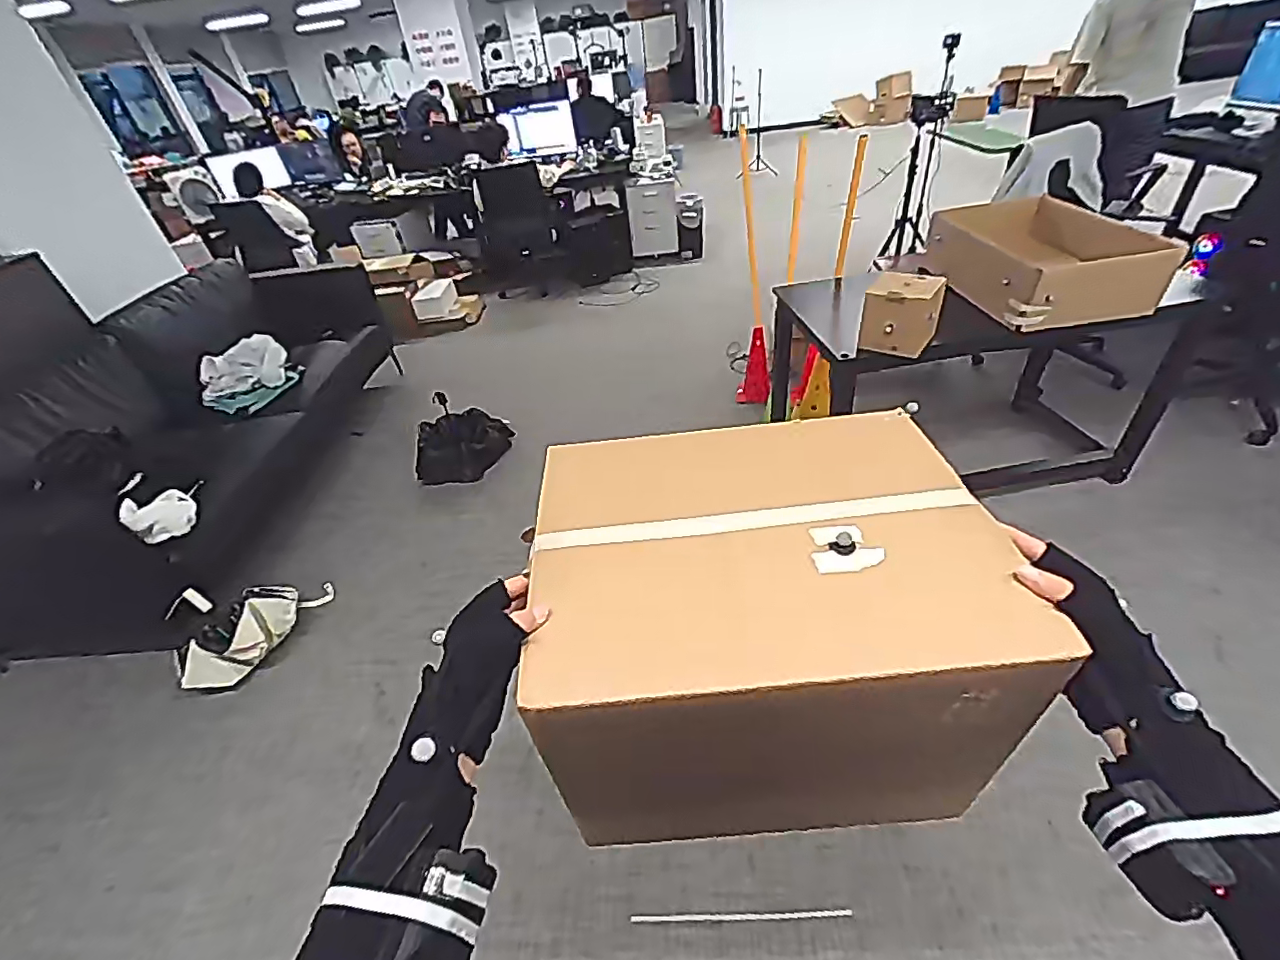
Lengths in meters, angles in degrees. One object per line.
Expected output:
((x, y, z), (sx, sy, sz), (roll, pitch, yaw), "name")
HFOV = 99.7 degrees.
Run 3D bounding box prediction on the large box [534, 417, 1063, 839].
((0.118, 0.159, 0.603), (0.408, 0.320, 0.320), (-6, 41, 1), "large box")
